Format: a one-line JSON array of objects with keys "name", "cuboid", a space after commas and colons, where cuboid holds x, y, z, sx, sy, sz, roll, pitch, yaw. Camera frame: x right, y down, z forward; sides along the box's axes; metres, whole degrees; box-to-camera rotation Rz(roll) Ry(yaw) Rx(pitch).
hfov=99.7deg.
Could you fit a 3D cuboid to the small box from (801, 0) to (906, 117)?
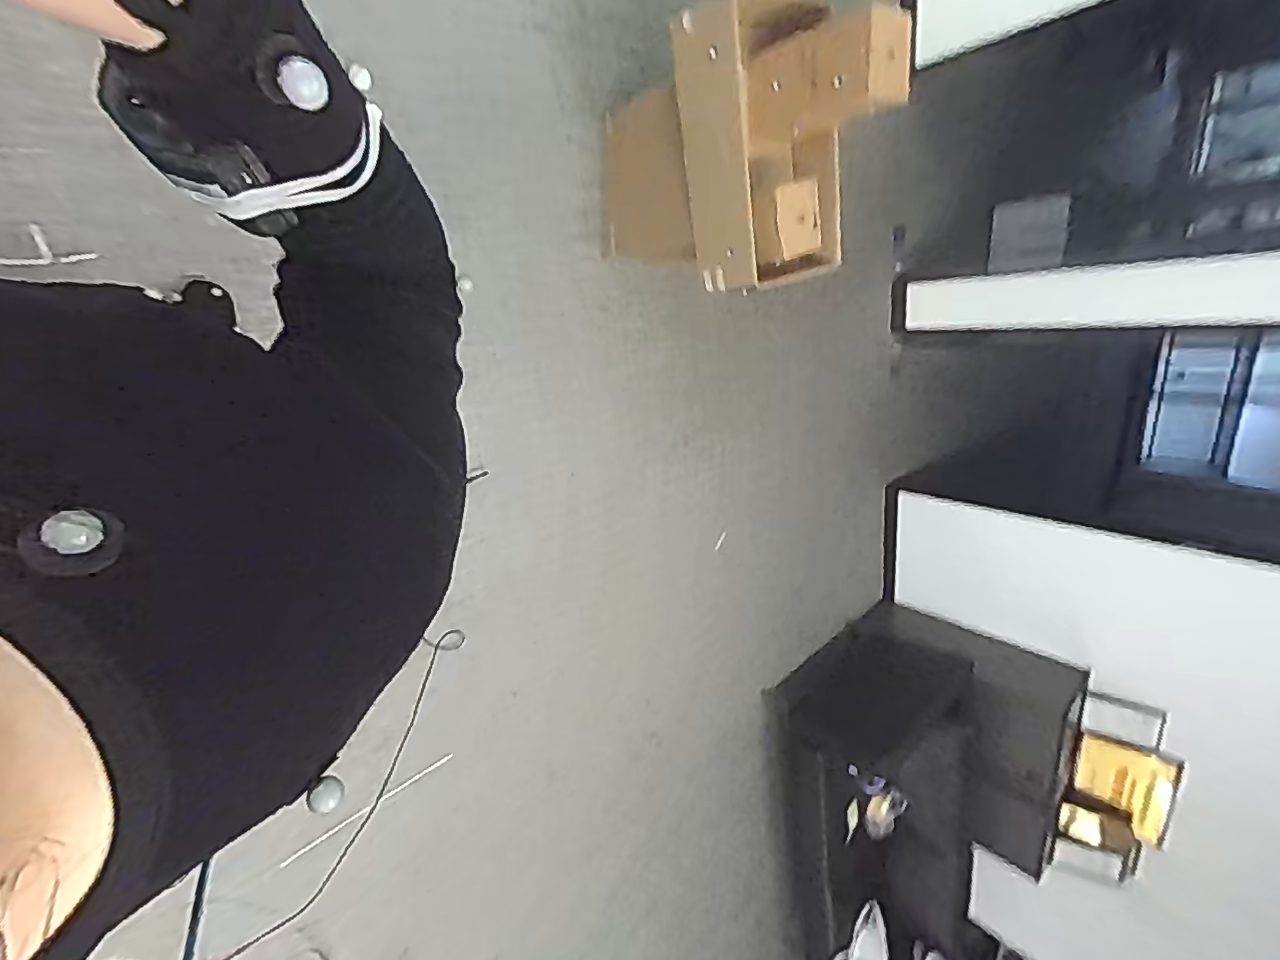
[{"name": "small box", "cuboid": [0.488, -0.959, 1.248, 0.179, 0.176, 0.168, -24, 117, -35]}]
